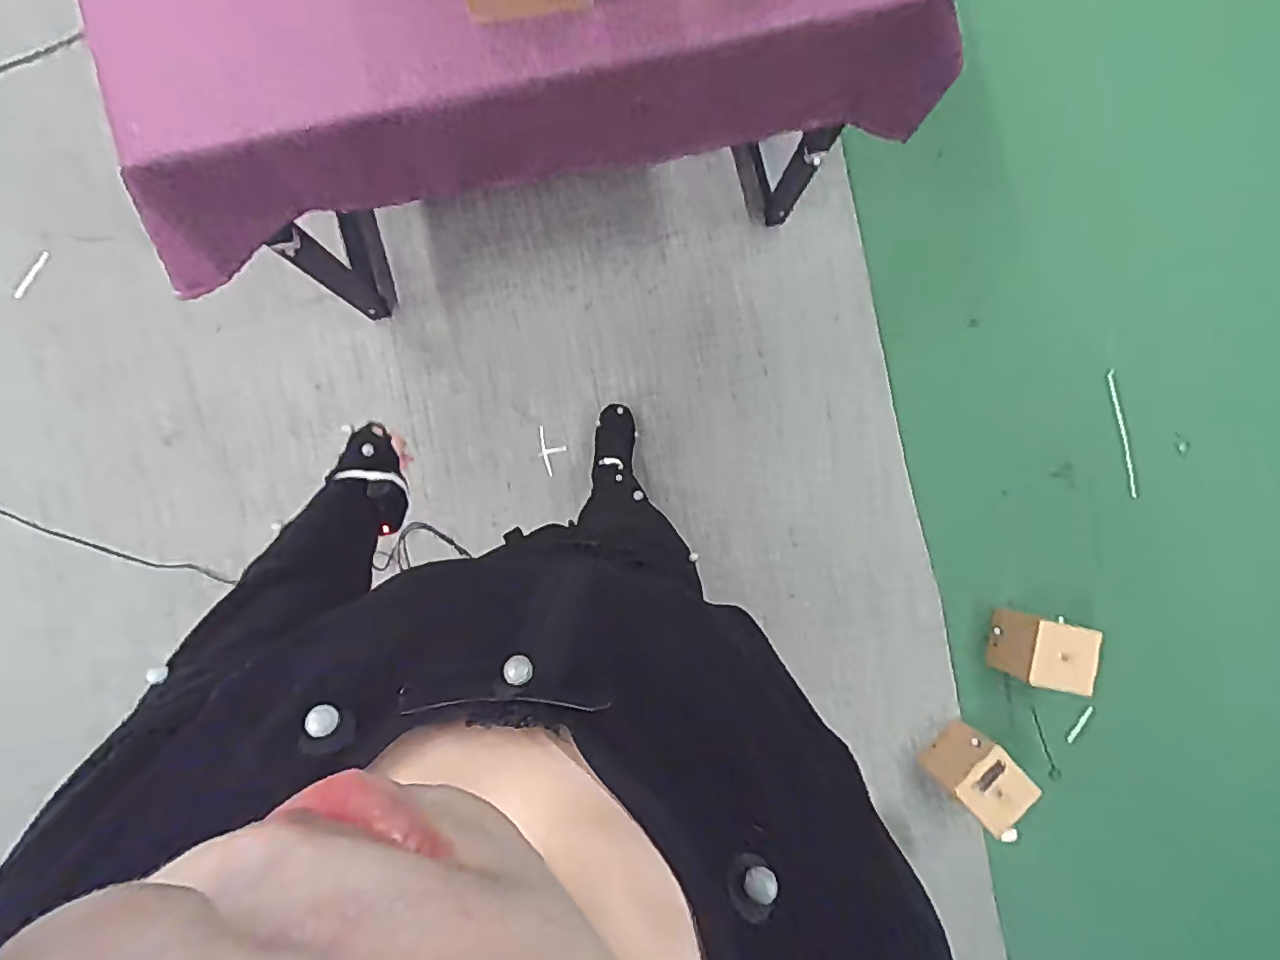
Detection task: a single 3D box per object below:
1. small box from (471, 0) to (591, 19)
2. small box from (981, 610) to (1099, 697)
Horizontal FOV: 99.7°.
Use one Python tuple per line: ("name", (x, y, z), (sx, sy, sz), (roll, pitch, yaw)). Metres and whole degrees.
("small box", (-0.158, -0.742, 0.693), (0.179, 0.176, 0.168), (-10, 89, -3))
("small box", (1.076, 0.463, 1.465), (0.179, 0.176, 0.168), (13, 88, -3))
